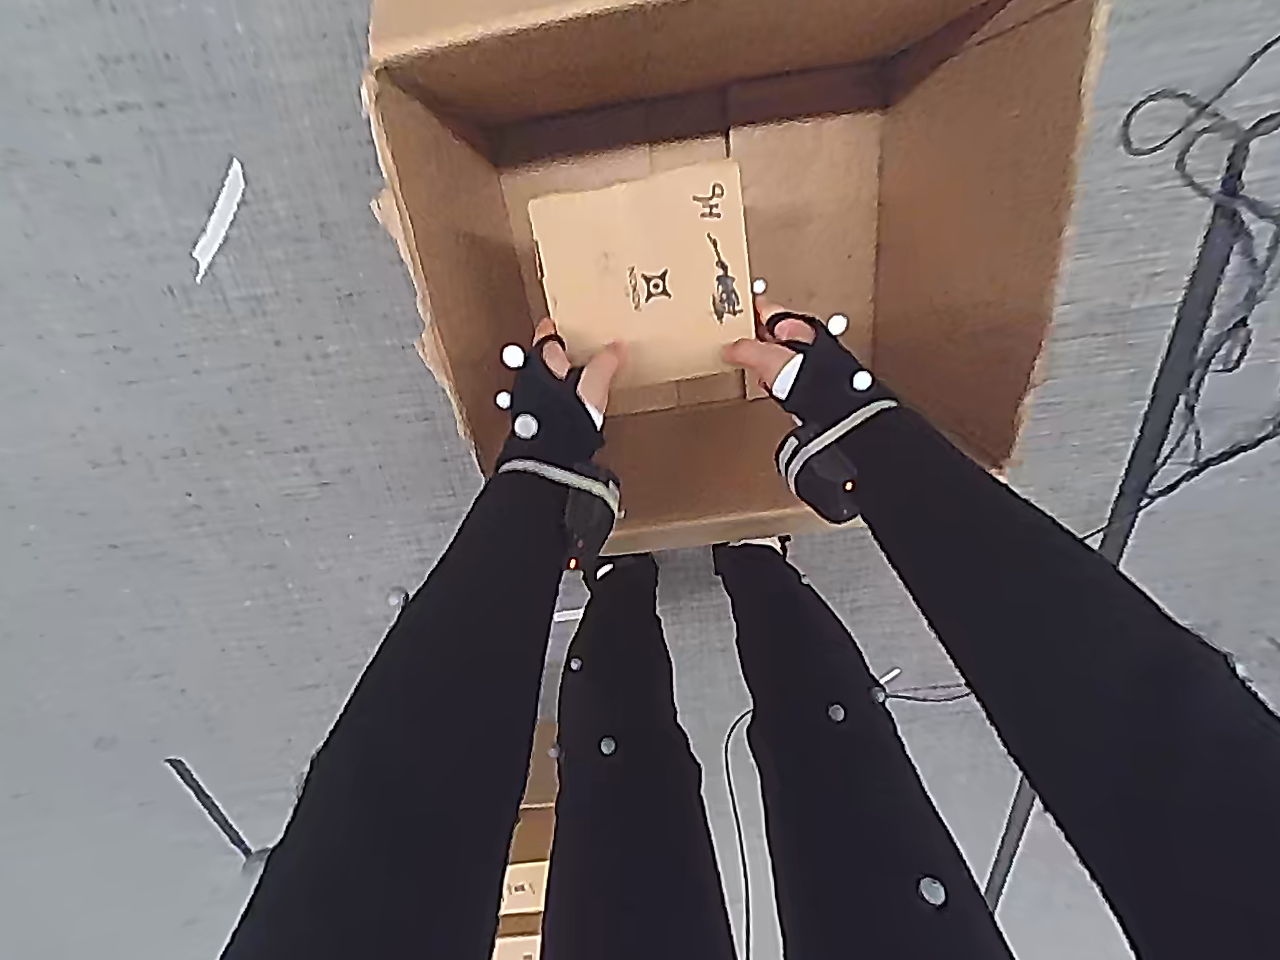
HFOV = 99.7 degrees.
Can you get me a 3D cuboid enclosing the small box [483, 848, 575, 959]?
[{"bbox_3d":[-0.235,0.953,1.192,0.168,0.176,0.179,-4,115,-3],"label":"small box"}]
